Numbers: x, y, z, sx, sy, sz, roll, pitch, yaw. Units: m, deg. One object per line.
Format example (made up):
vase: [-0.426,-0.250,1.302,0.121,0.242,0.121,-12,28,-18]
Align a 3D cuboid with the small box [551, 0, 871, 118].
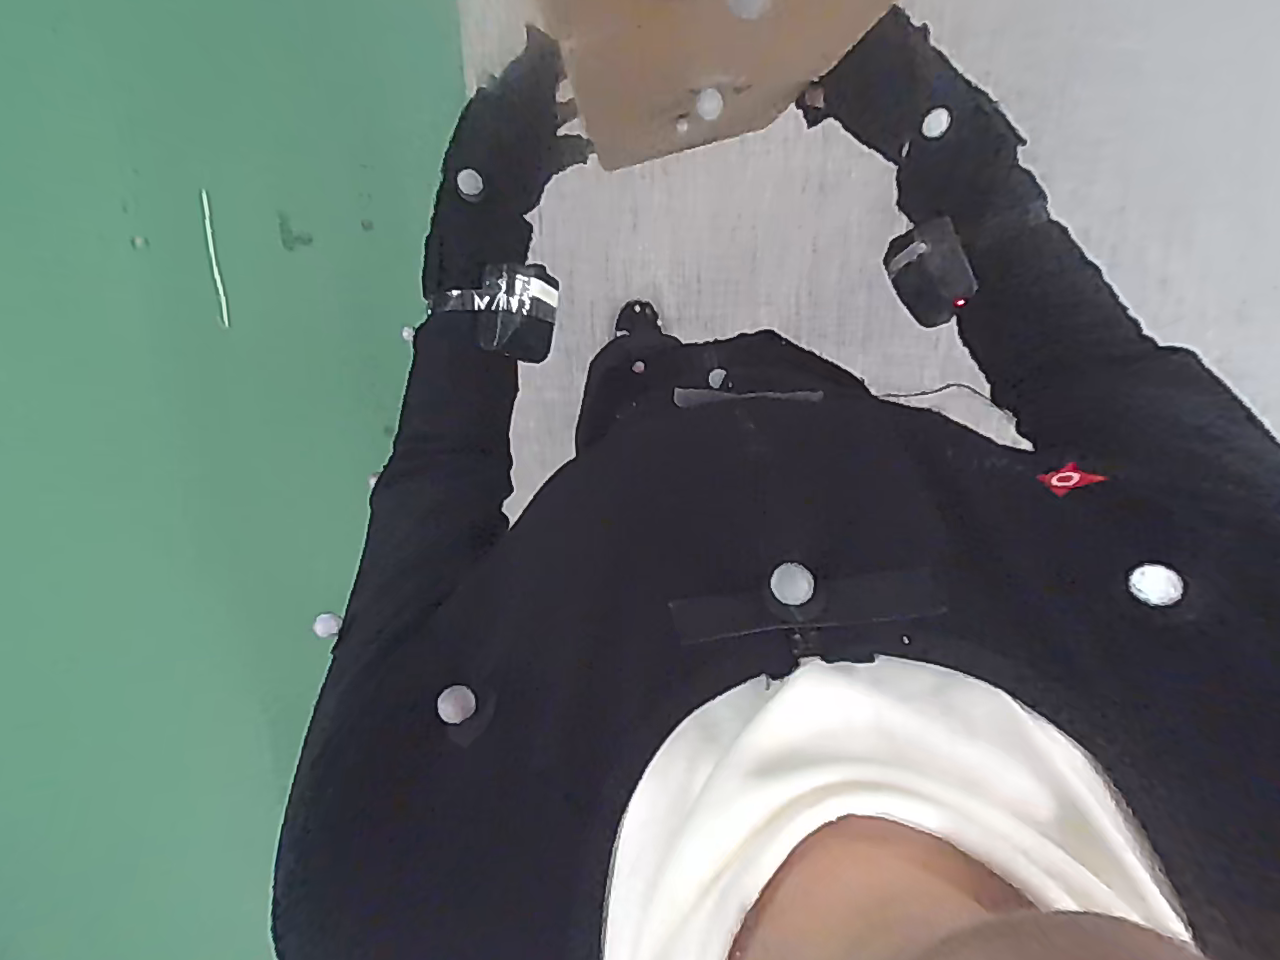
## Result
small box: [0.024,-0.310,0.258,0.168,0.176,0.179,-12,111,4]

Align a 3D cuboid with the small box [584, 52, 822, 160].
small box: [0.025,-0.373,0.409,0.168,0.176,0.179,-12,110,5]
